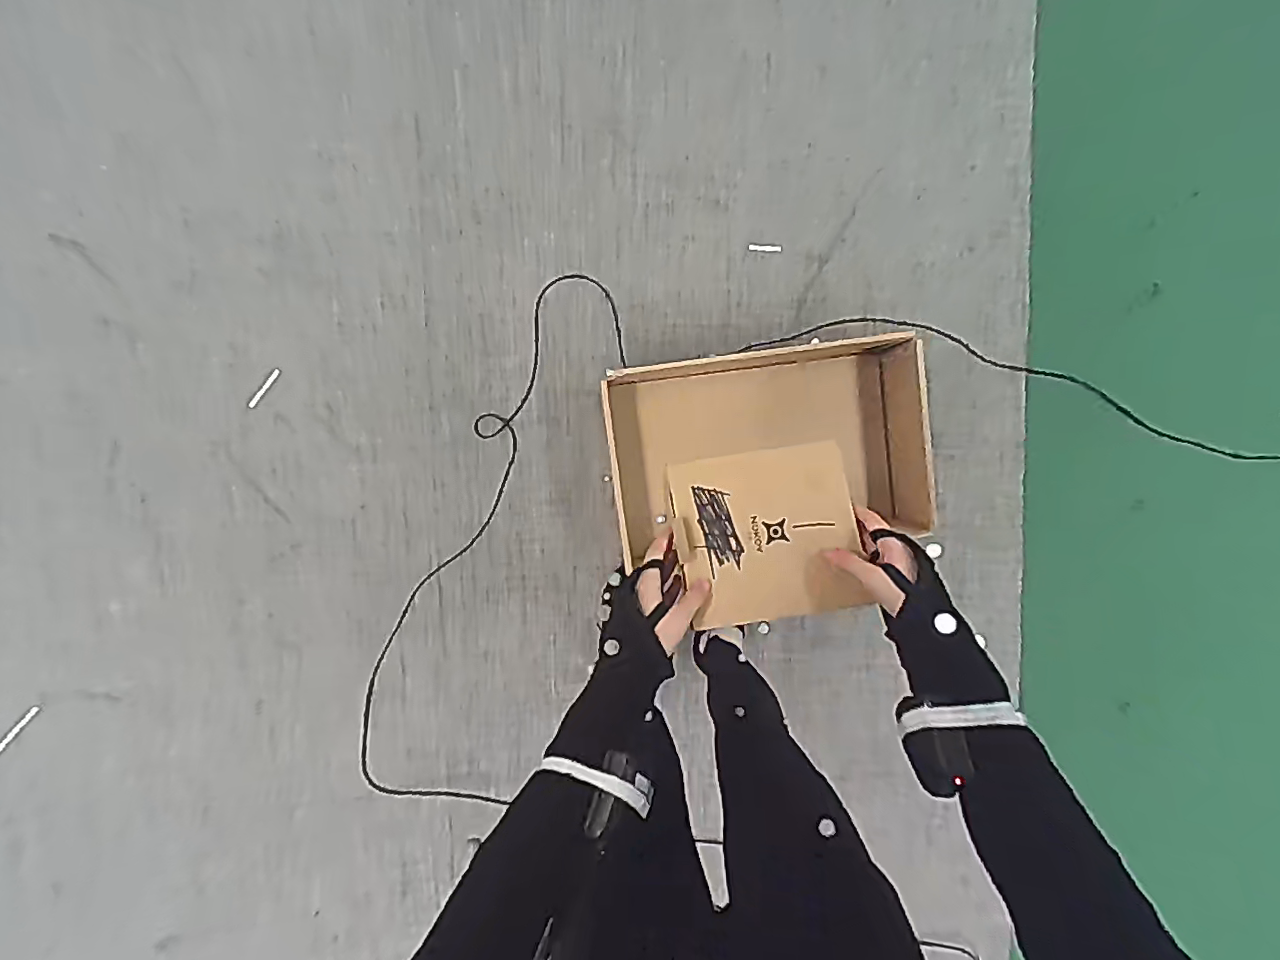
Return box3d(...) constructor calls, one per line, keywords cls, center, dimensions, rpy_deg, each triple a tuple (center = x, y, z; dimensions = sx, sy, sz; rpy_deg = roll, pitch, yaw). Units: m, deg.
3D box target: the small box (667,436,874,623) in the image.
box3d(cls="small box", center=(0.126, 0.065, 0.602), dimensions=(0.179, 0.176, 0.168), rpy_deg=(-8, 76, -1))
